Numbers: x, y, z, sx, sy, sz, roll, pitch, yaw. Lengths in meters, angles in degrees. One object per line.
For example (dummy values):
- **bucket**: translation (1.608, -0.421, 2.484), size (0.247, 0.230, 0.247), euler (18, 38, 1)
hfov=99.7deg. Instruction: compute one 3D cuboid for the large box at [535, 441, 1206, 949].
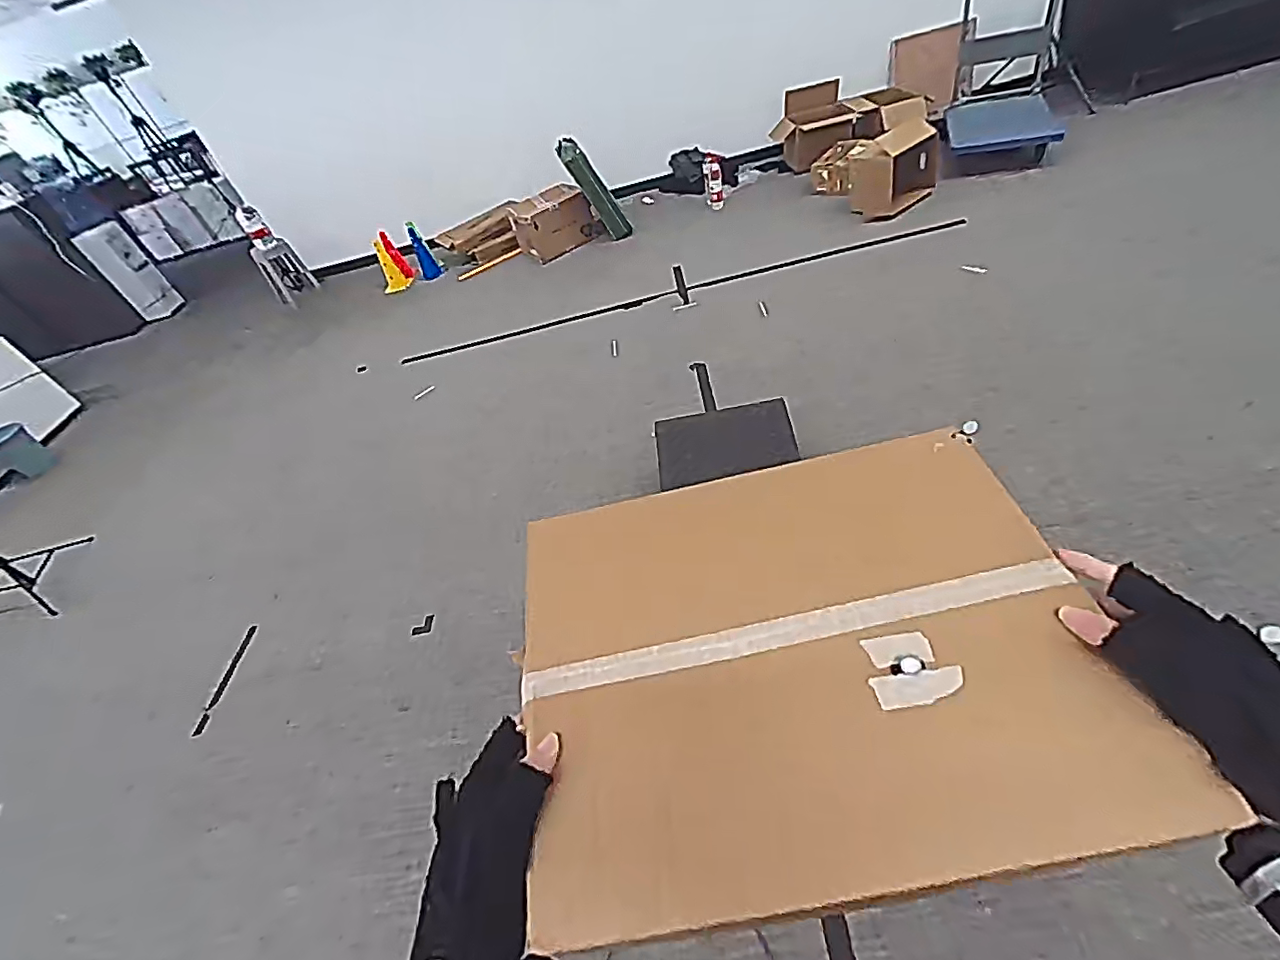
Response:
- **large box**: translation (0.140, 0.216, 0.526), size (0.408, 0.320, 0.320), euler (-13, 49, 3)
